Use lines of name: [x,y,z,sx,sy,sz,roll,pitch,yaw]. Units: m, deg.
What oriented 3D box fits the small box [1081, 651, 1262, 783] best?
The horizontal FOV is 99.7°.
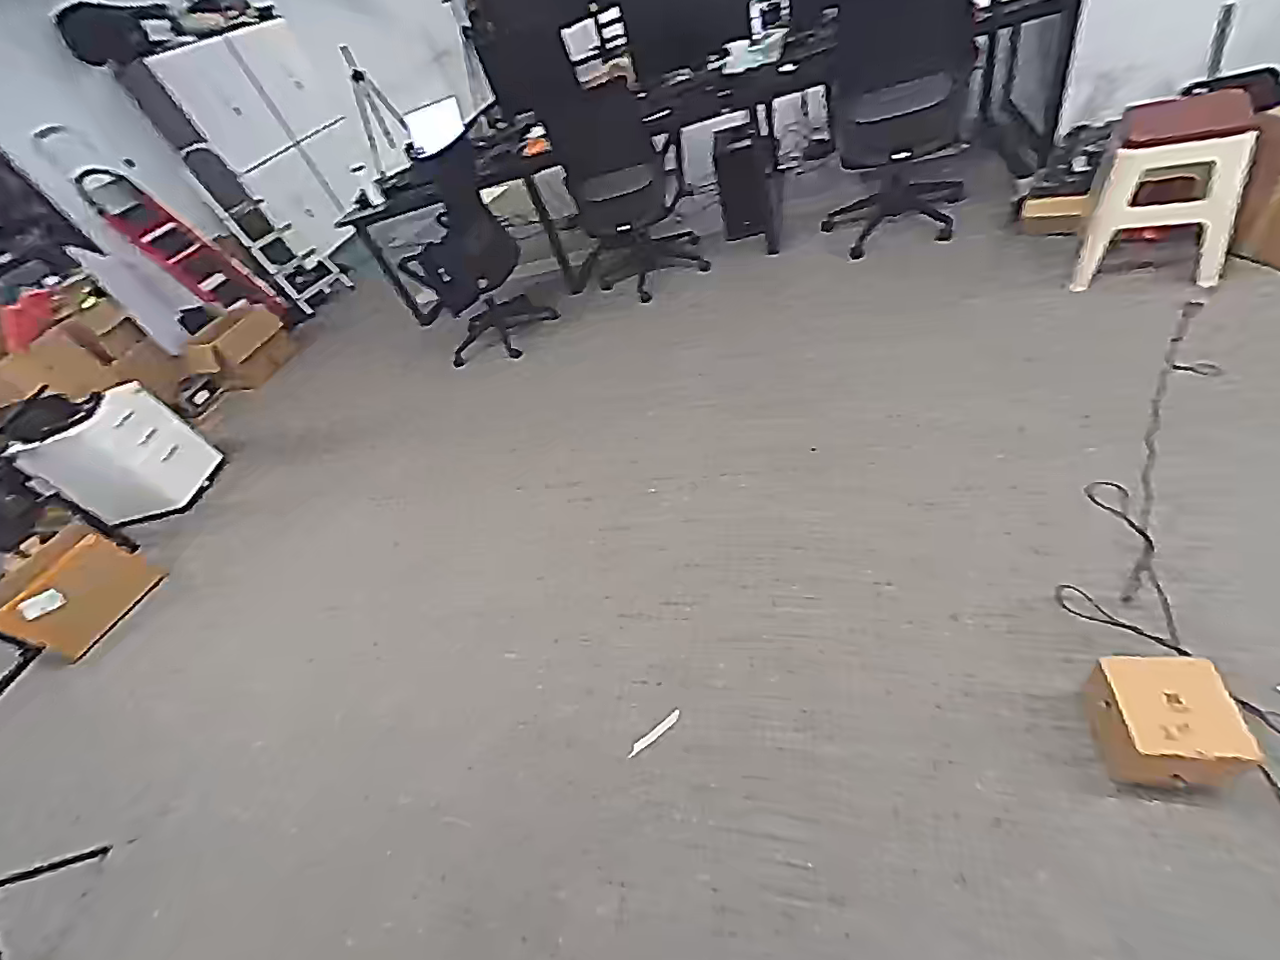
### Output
small box: [0.957,0.435,0.998,0.168,0.176,0.179,-7,46,20]
